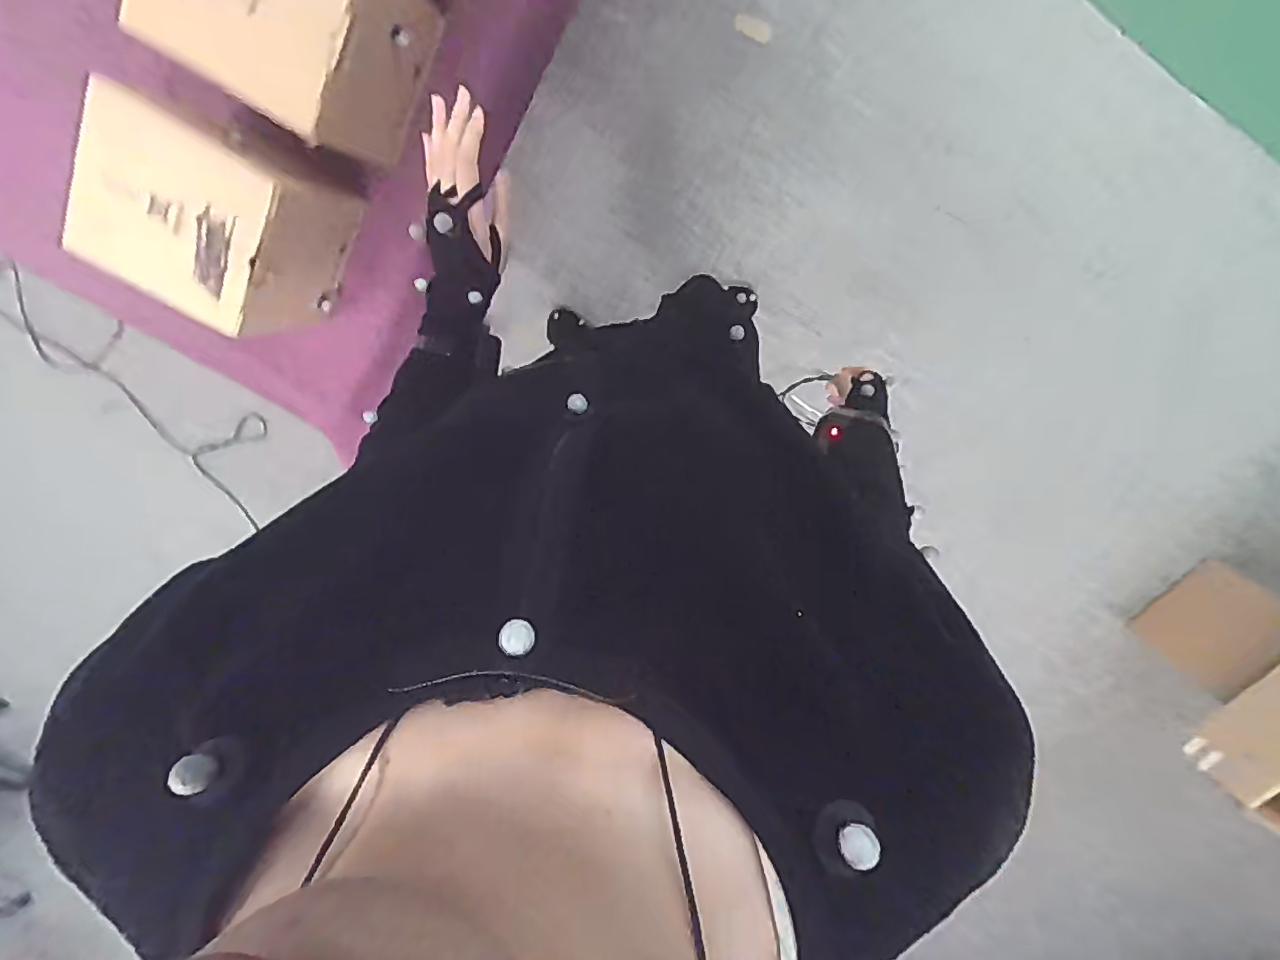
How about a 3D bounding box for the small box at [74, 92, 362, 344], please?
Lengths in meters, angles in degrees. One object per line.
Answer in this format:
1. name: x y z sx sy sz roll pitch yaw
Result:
1. small box: -0.448 -0.278 0.600 0.179 0.176 0.168 29 110 -8
